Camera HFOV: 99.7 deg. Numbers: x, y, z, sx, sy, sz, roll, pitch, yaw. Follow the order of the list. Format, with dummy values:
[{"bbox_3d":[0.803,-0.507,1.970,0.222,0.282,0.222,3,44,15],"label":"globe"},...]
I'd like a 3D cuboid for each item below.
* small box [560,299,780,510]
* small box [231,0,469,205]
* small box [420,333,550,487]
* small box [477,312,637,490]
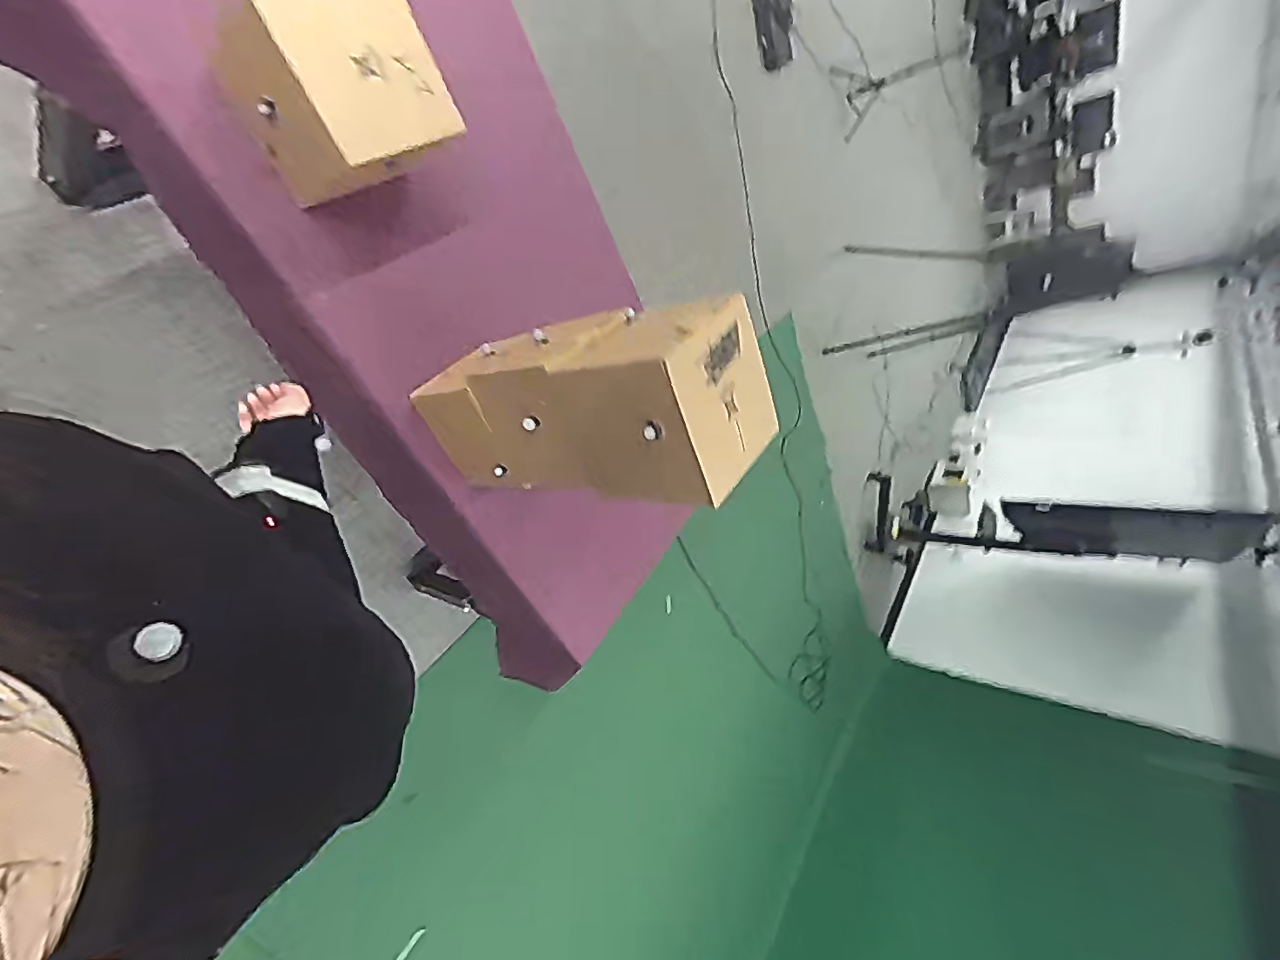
[{"bbox_3d":[0.037,-0.086,0.628,0.168,0.176,0.179,-45,125,-36],"label":"small box"},{"bbox_3d":[-0.352,-0.459,0.655,0.179,0.176,0.168,-47,126,-35],"label":"small box"},{"bbox_3d":[-0.206,-0.106,0.848,0.168,0.176,0.179,-48,126,-34],"label":"small box"},{"bbox_3d":[-0.087,-0.103,0.735,0.168,0.176,0.179,-44,123,-36],"label":"small box"}]
